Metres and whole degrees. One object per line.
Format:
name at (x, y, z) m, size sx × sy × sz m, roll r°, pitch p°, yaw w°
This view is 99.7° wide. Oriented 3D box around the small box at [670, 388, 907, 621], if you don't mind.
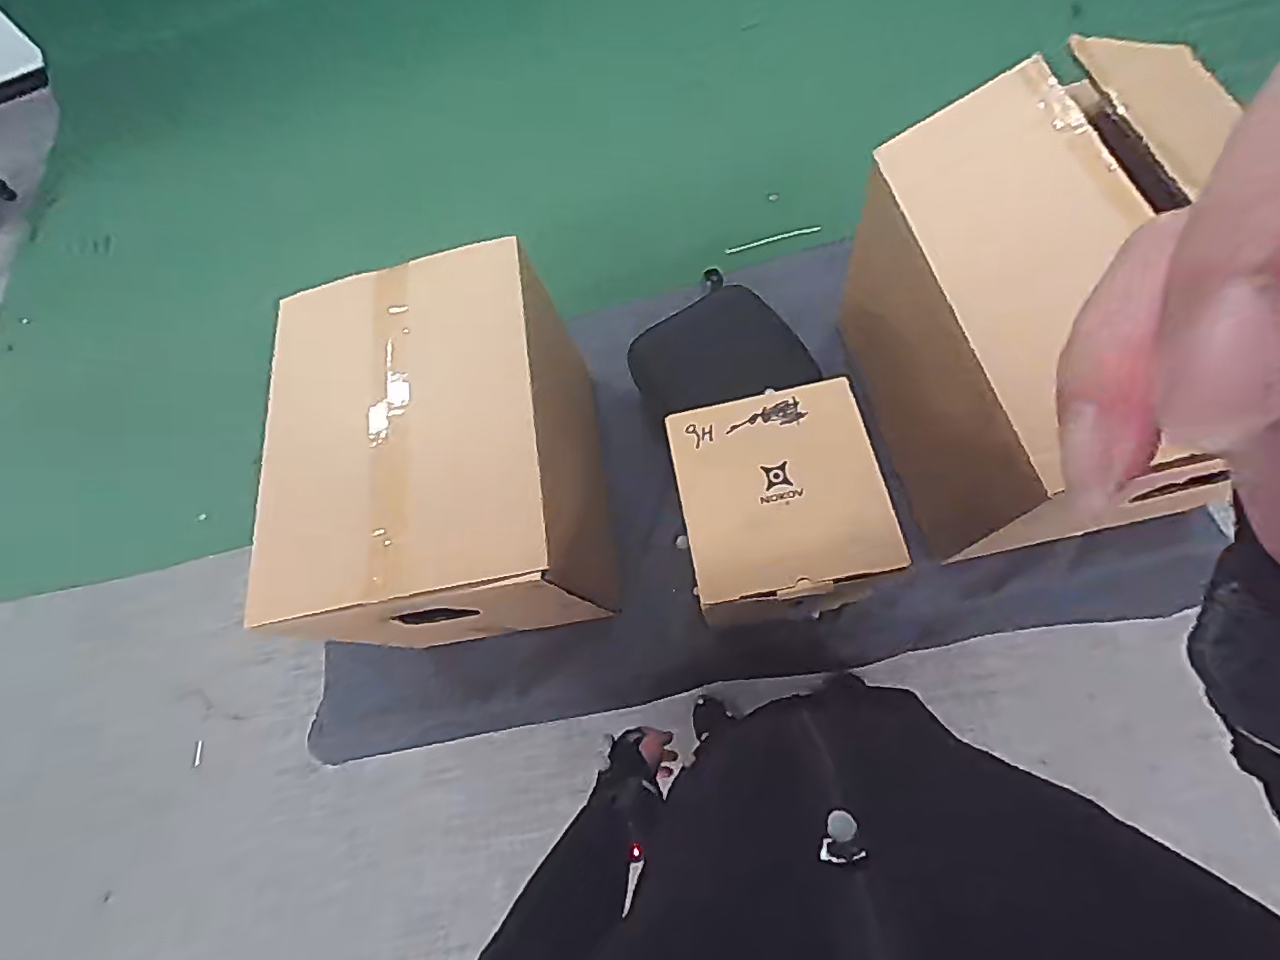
small box at (0.132, 0.039, 0.533) m, size 0.168 × 0.176 × 0.179 m, roll -12°, pitch 69°, yaw 5°
